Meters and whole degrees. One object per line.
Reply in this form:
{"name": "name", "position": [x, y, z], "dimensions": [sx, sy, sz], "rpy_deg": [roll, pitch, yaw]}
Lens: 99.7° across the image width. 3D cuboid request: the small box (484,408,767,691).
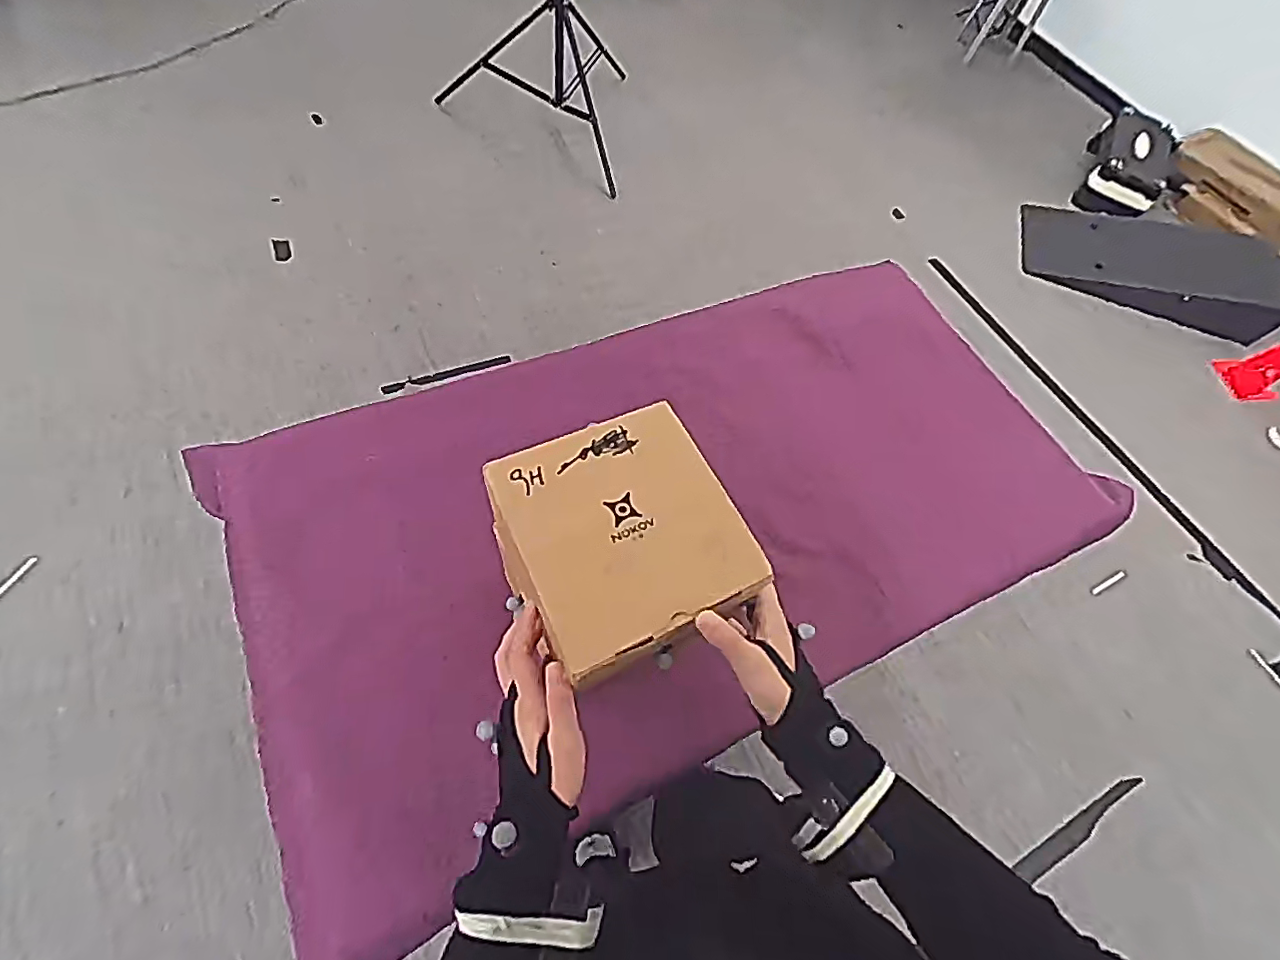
{"name": "small box", "position": [-0.021, 0.071, 0.480], "dimensions": [0.168, 0.176, 0.179], "rpy_deg": [-22, 68, -18]}
